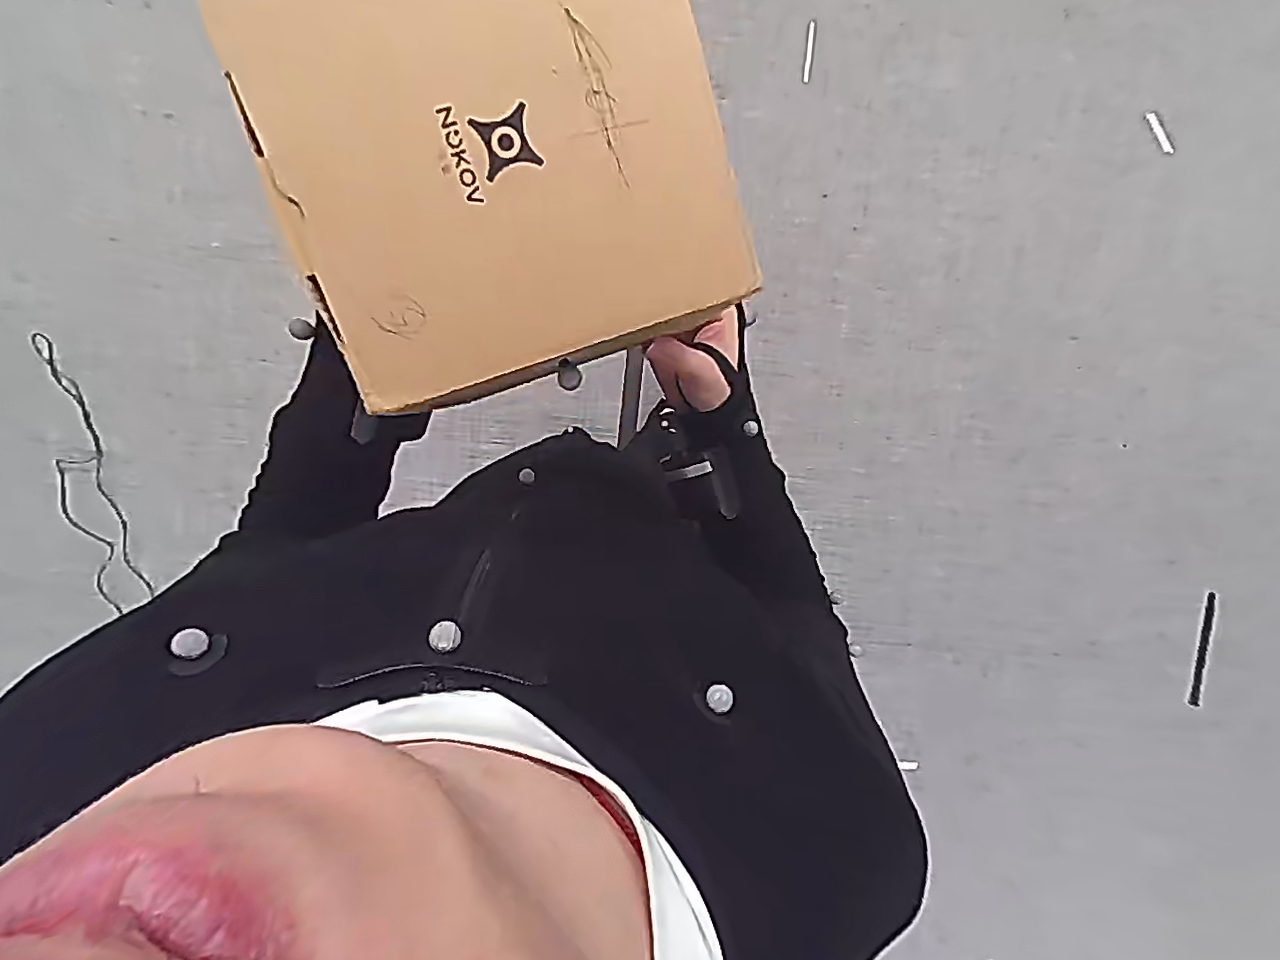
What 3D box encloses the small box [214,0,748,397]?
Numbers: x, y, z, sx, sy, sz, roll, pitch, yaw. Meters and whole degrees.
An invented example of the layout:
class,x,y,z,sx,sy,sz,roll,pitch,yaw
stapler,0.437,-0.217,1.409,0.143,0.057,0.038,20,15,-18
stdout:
class,x,y,z,sx,sy,sz,roll,pitch,yaw
small box,-0.064,-0.151,0.301,0.179,0.176,0.168,-20,102,-1
